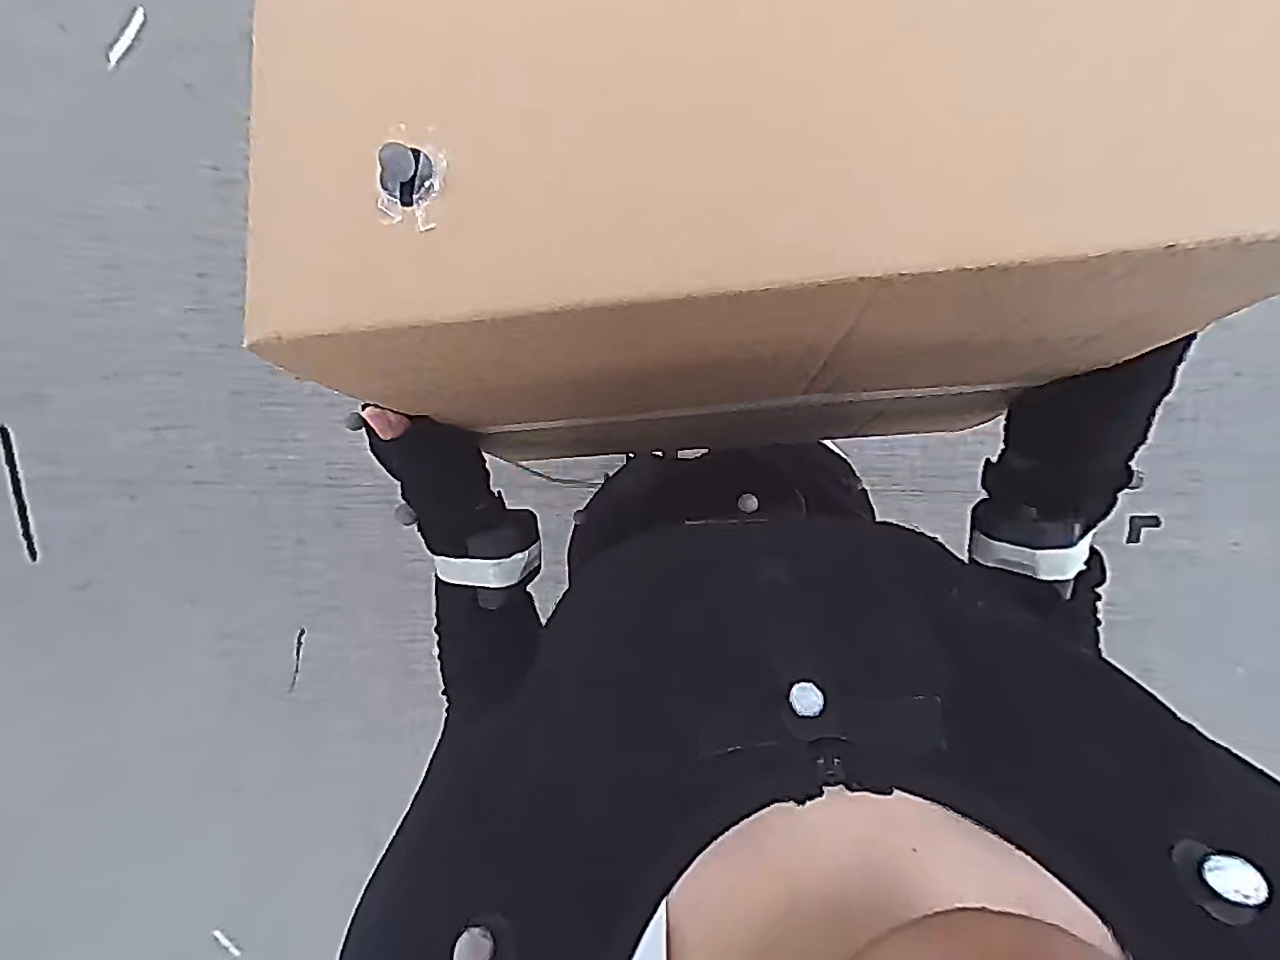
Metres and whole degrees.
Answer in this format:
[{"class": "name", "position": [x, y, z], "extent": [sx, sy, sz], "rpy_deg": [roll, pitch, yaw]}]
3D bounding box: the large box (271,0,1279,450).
[{"class": "large box", "position": [0.051, -0.209, 0.364], "extent": [0.408, 0.320, 0.320], "rpy_deg": [-4, 84, 5]}]
